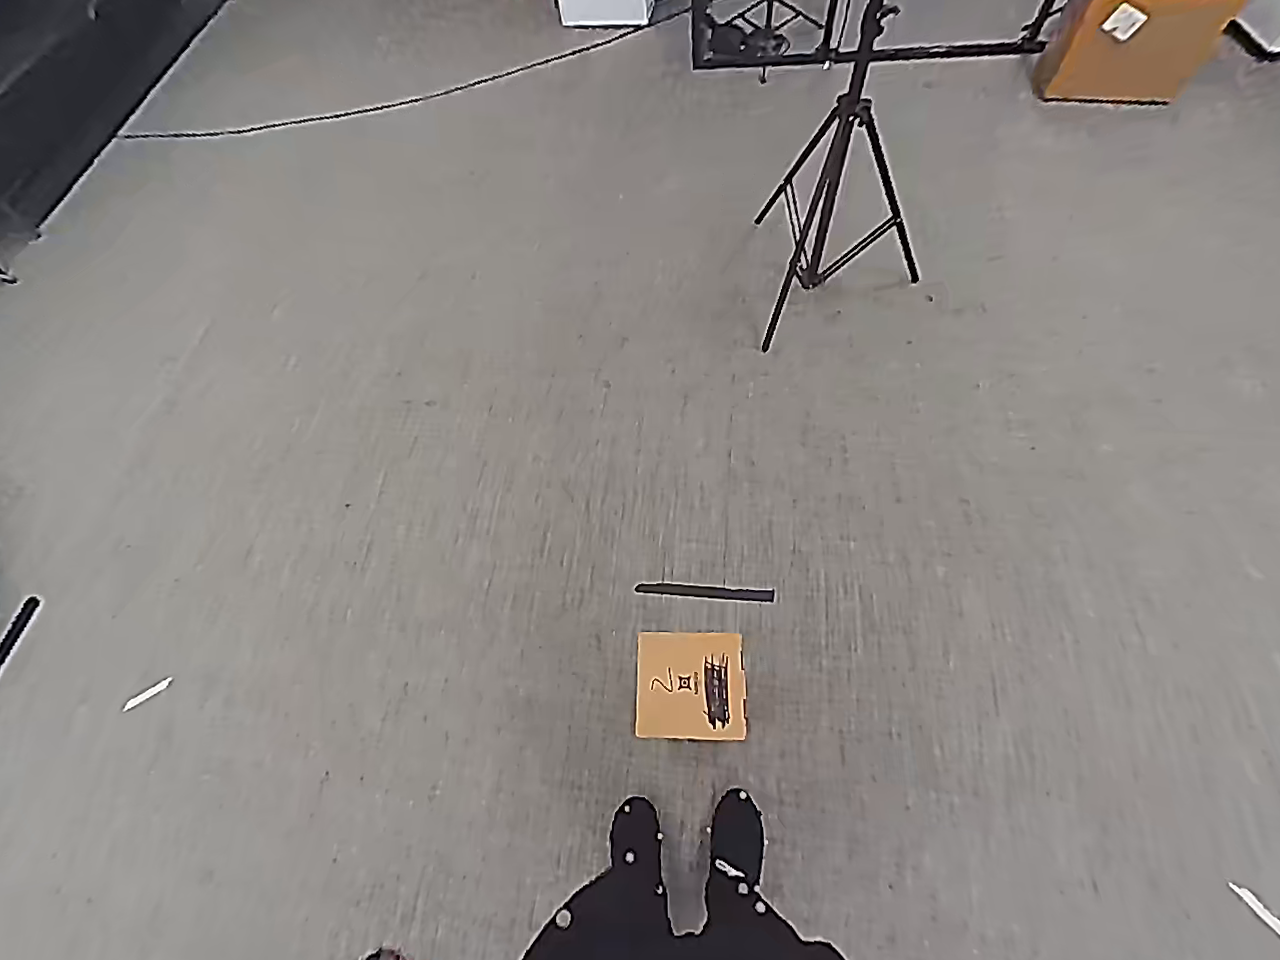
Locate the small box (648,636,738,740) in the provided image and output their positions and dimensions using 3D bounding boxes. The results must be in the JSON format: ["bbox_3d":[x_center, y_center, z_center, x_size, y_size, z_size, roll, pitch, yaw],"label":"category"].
[{"bbox_3d":[0.109,0.423,1.094,0.168,0.176,0.179,1,65,7],"label":"small box"}]
